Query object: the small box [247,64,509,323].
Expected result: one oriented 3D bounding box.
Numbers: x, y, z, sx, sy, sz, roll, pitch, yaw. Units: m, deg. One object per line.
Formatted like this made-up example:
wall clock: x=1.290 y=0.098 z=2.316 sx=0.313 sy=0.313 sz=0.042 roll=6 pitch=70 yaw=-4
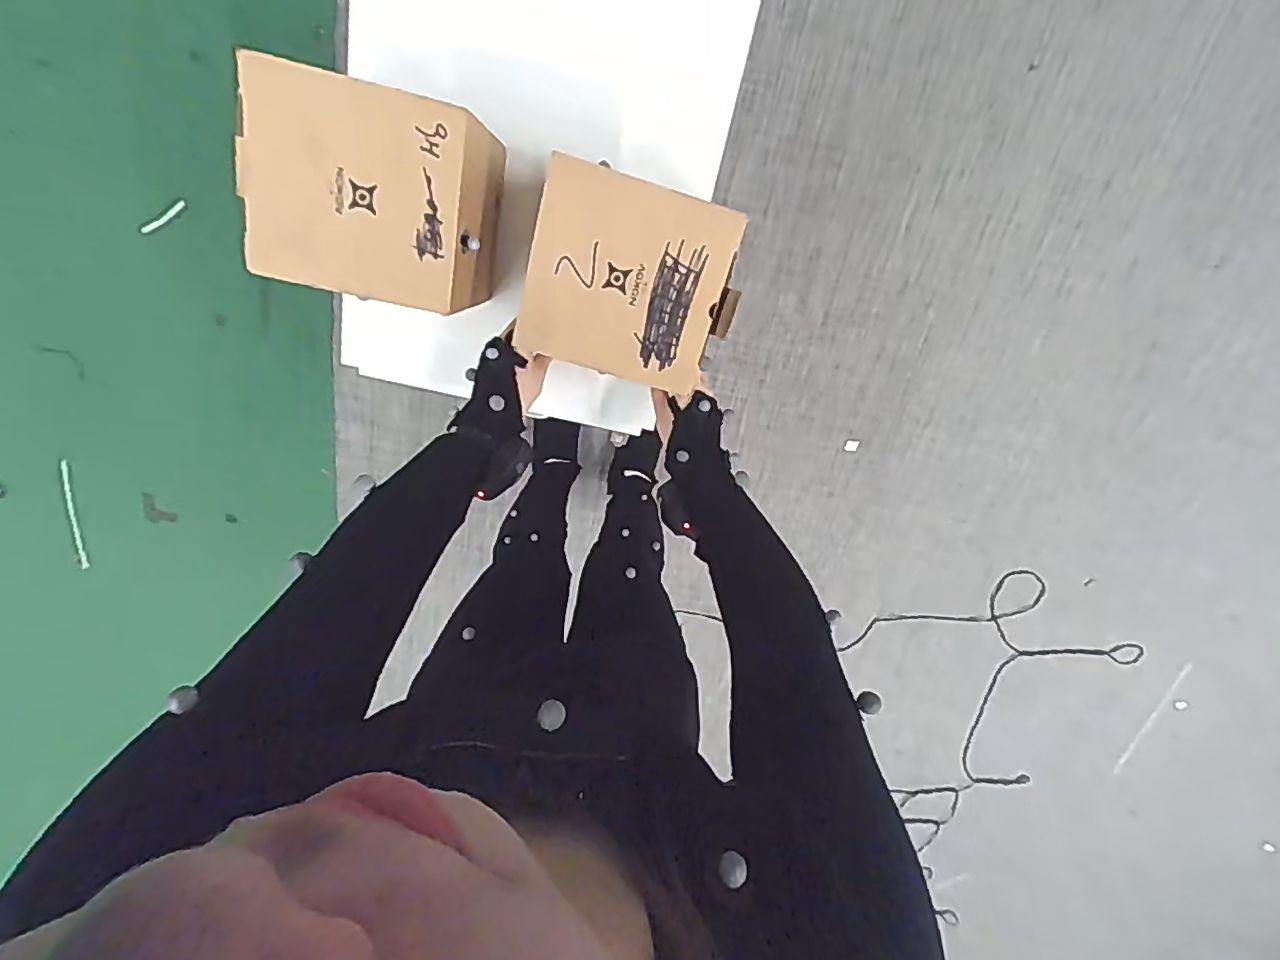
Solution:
small box: x=-0.241 y=-0.262 z=0.529 sx=0.179 sy=0.176 sz=0.168 roll=11 pitch=111 yaw=-7
